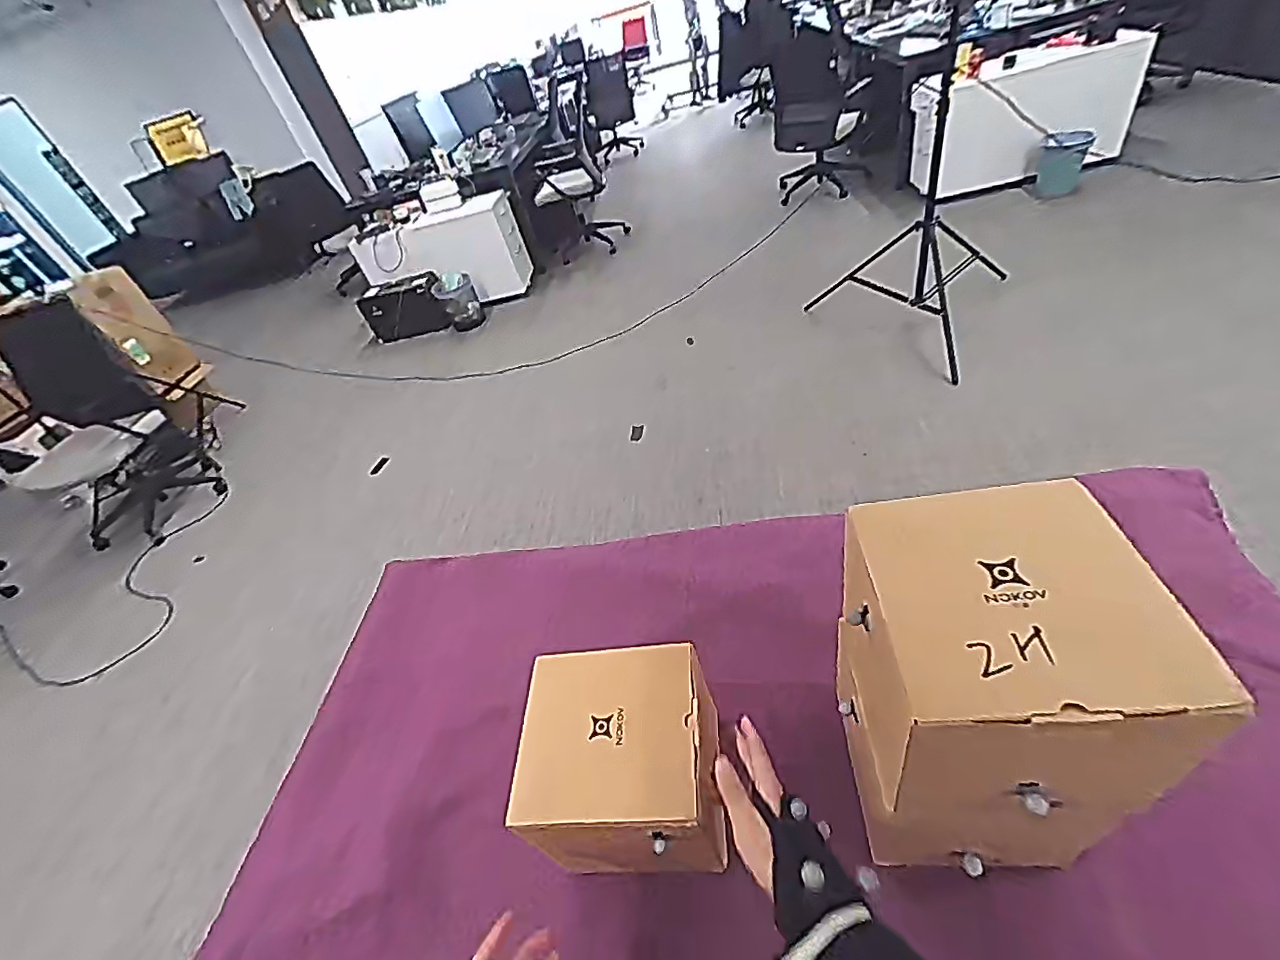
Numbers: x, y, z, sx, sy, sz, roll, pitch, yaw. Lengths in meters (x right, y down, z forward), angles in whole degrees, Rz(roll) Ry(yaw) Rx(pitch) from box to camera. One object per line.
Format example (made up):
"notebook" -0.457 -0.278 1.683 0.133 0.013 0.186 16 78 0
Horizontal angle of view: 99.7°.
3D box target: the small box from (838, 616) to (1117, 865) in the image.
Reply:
"small box" 0.292 0.245 0.522 0.168 0.176 0.179 -8 42 11

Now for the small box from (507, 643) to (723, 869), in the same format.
"small box" -0.014 0.296 0.575 0.179 0.176 0.168 -8 41 10

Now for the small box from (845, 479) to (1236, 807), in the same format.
"small box" 0.259 0.125 0.413 0.168 0.176 0.179 -9 42 12
